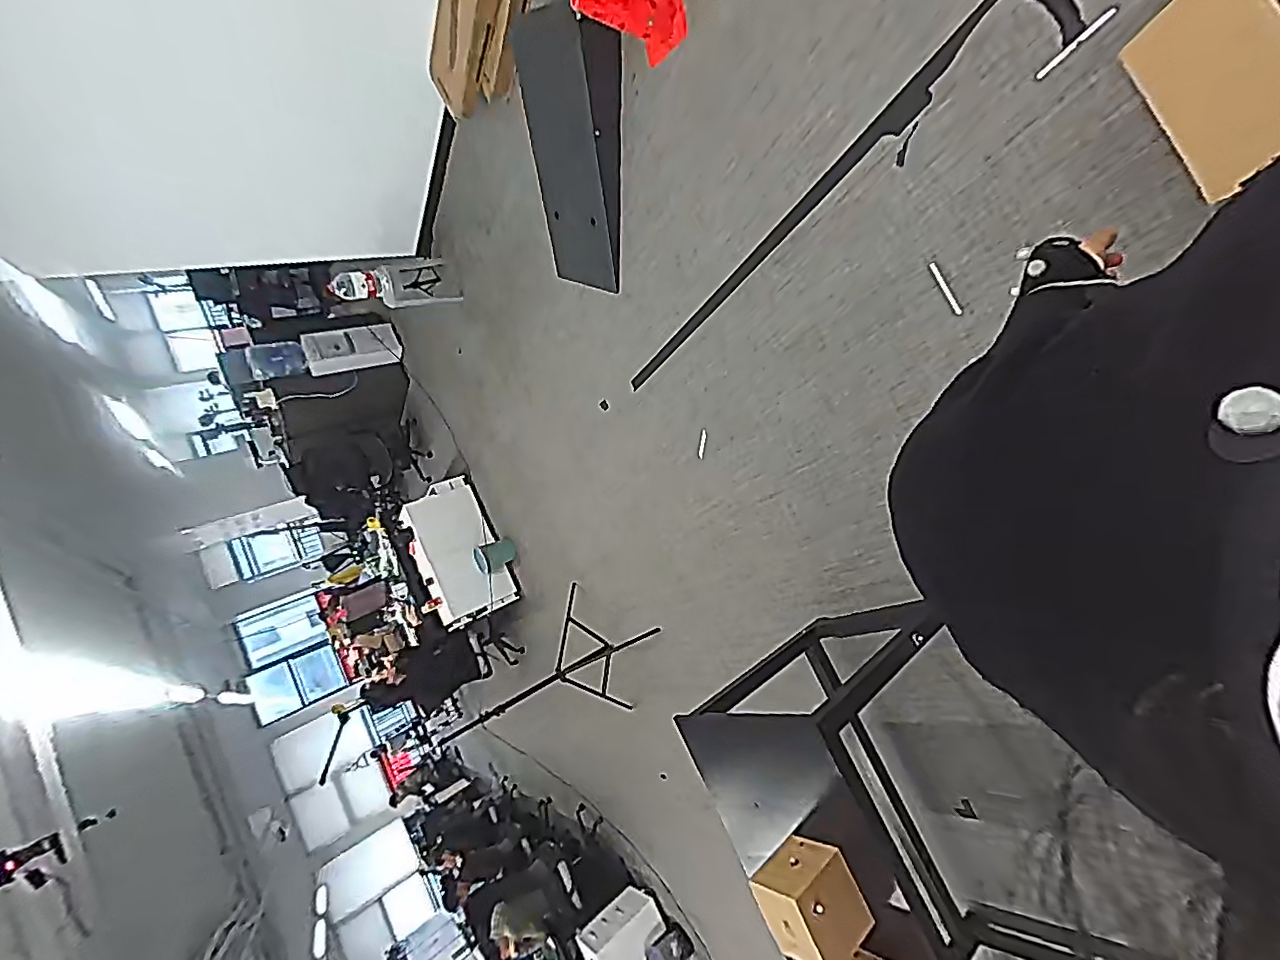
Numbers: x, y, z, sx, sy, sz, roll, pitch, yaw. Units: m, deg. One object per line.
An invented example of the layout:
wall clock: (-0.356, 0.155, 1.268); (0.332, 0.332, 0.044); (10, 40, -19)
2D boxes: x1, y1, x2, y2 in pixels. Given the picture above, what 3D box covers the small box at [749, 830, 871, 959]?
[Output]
small box: (0.394, 0.959, 1.257); (0.168, 0.176, 0.179); (-37, 77, 56)
